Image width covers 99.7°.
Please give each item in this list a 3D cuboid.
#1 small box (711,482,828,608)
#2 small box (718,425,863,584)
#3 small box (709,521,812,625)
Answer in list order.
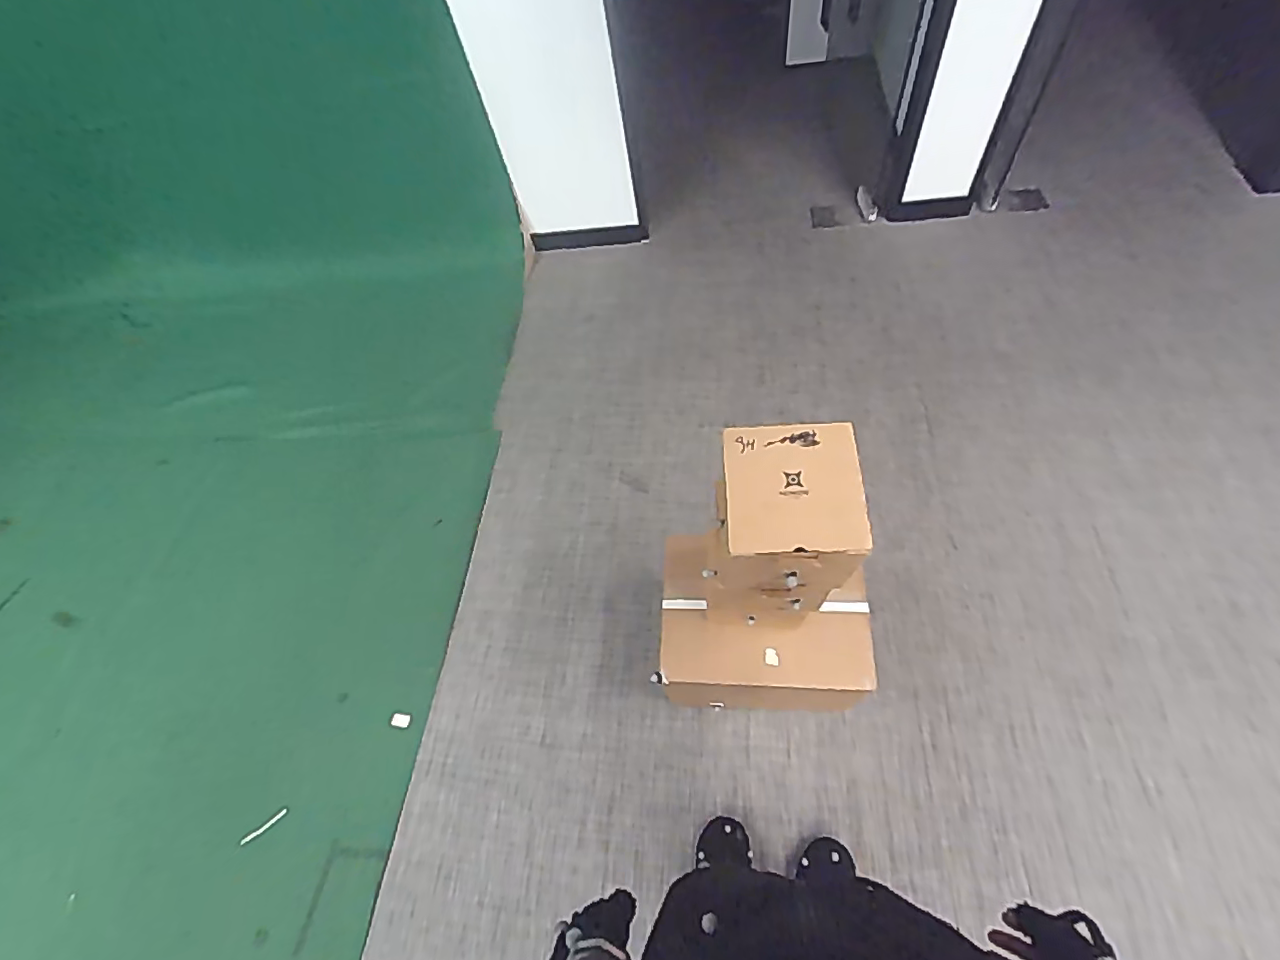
[{"bbox_3d":[0.205,0.112,0.893,0.168,0.176,0.179,-3,64,7],"label":"small box"},{"bbox_3d":[0.195,0.044,0.745,0.168,0.176,0.179,-3,66,8],"label":"small box"},{"bbox_3d":[0.223,0.182,1.038,0.179,0.176,0.168,-1,66,9],"label":"small box"}]
